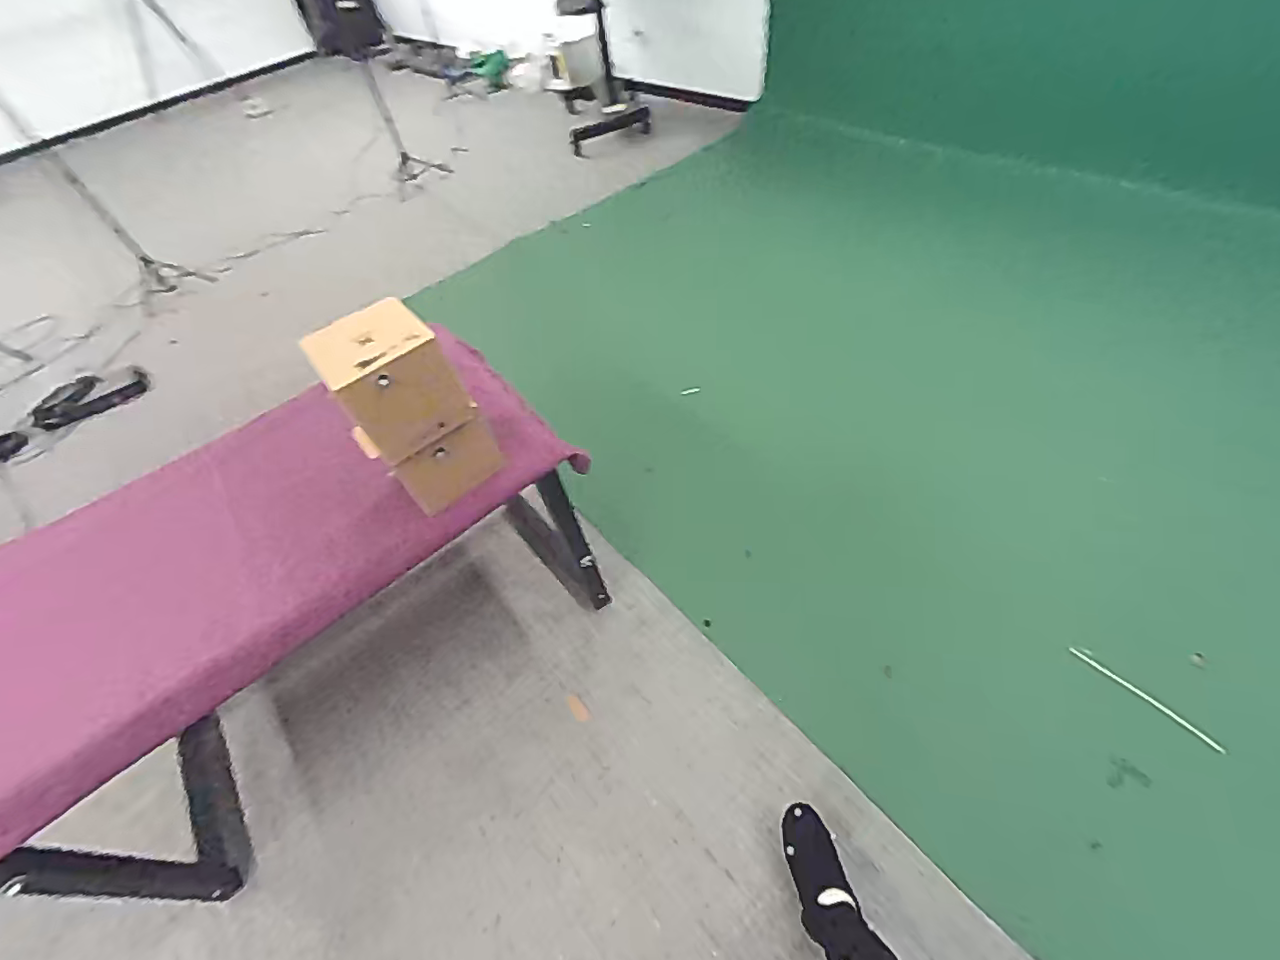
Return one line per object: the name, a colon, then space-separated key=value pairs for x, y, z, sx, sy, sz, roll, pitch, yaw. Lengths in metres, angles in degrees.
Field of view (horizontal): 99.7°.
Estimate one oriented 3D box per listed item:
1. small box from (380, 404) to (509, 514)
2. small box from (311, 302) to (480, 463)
small box: x=-0.381 y=-0.067 z=1.031 sx=0.179 sy=0.176 sz=0.168 roll=-37 pitch=54 yaw=-19
small box: x=-0.398 y=-0.159 z=0.895 sx=0.168 sy=0.176 sz=0.179 roll=-37 pitch=53 yaw=-17
